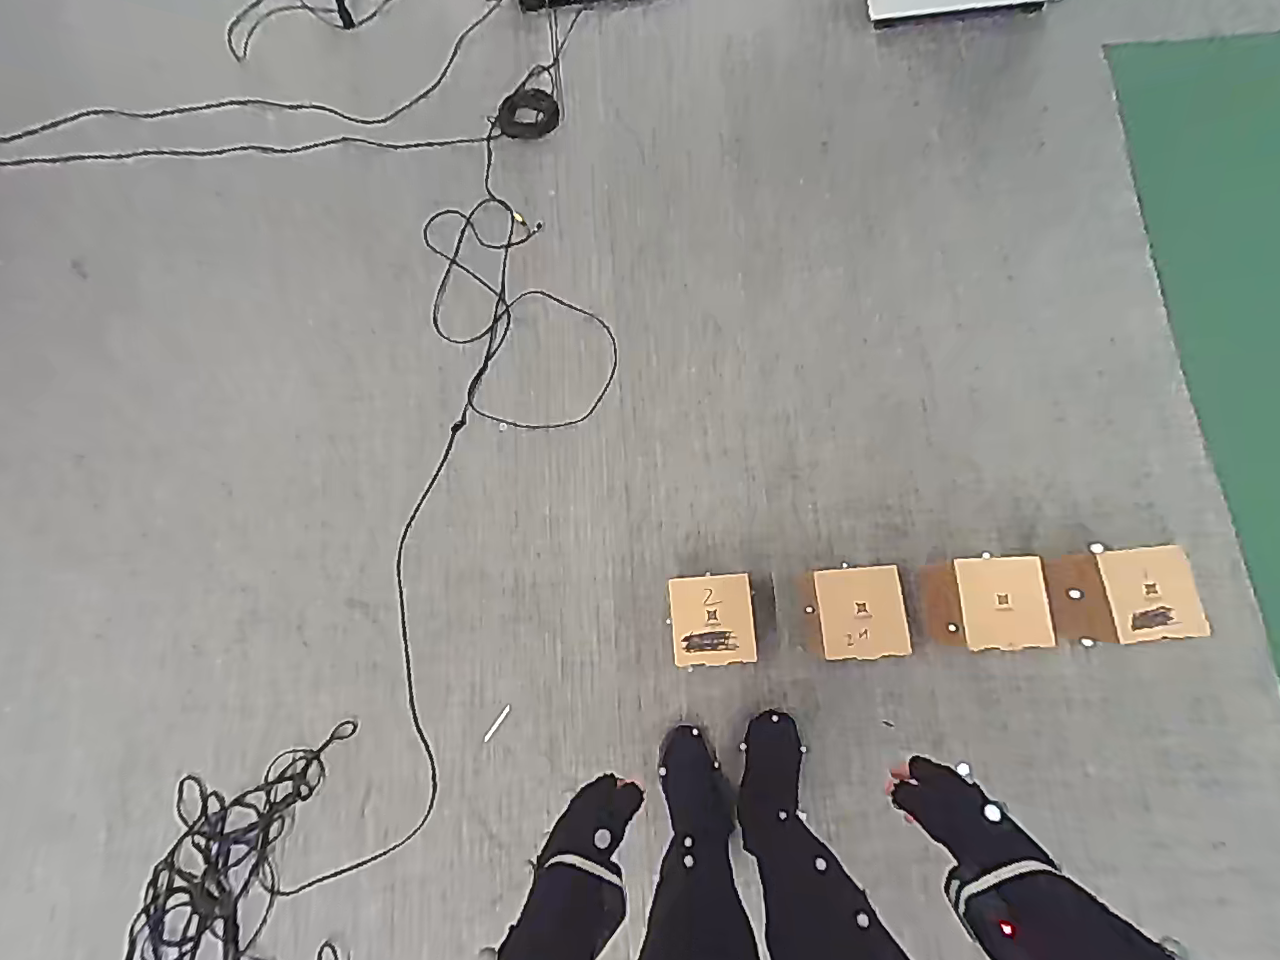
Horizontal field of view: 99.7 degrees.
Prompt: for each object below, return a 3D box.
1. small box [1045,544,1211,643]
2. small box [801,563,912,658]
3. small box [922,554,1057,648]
[{"bbox_3d":[0.979,0.230,1.103,0.168,0.176,0.179,-6,77,4],"label":"small box"},{"bbox_3d":[0.444,0.273,1.139,0.168,0.176,0.179,-5,77,5],"label":"small box"},{"bbox_3d":[0.711,0.252,1.123,0.168,0.176,0.179,-3,78,4],"label":"small box"}]
